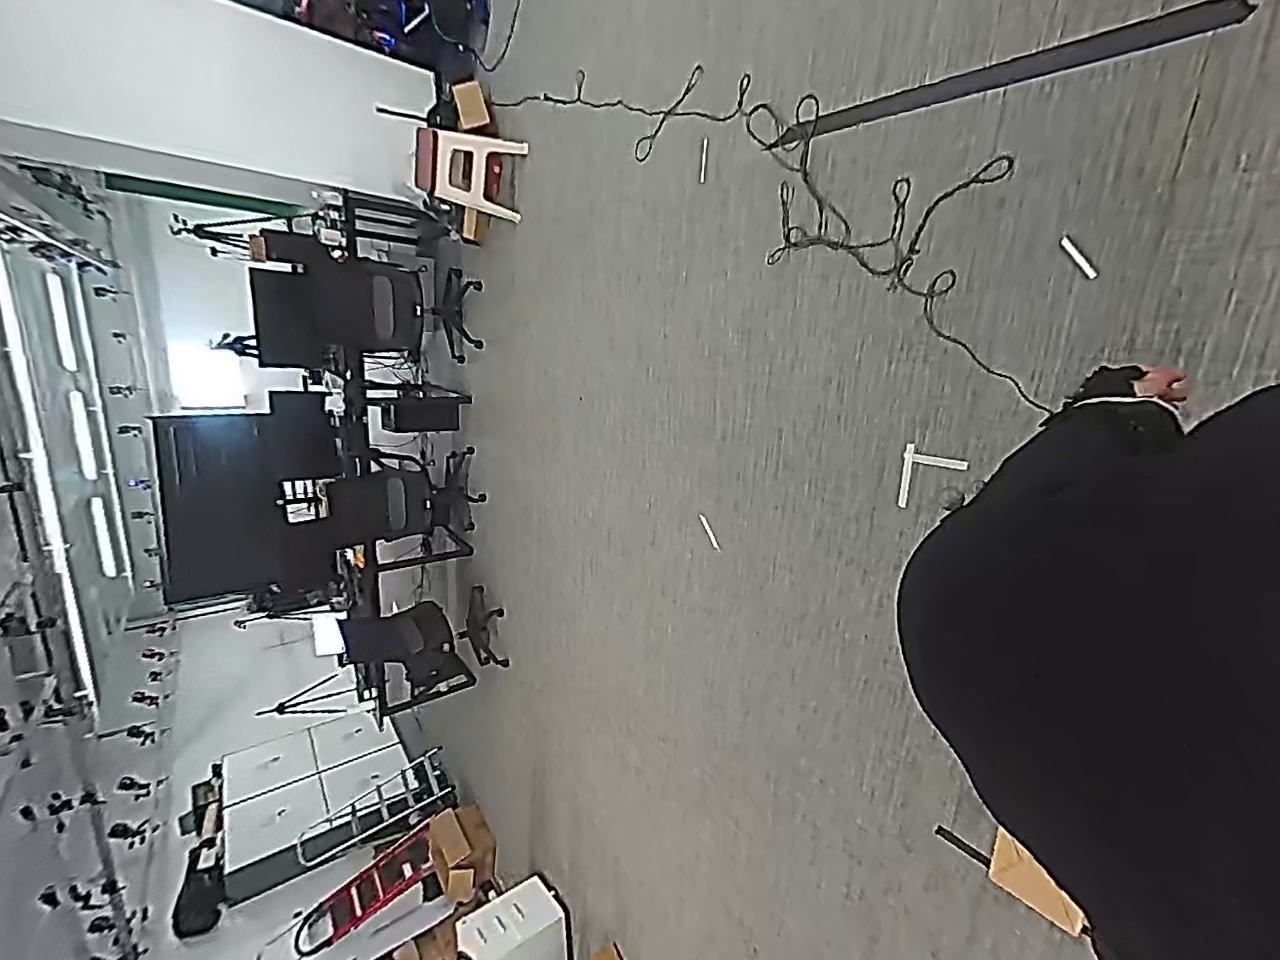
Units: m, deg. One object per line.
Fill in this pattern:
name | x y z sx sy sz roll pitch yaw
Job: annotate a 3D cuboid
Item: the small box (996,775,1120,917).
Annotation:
small box | 0.915 0.806 1.190 0.168 0.176 0.179 17 111 50
